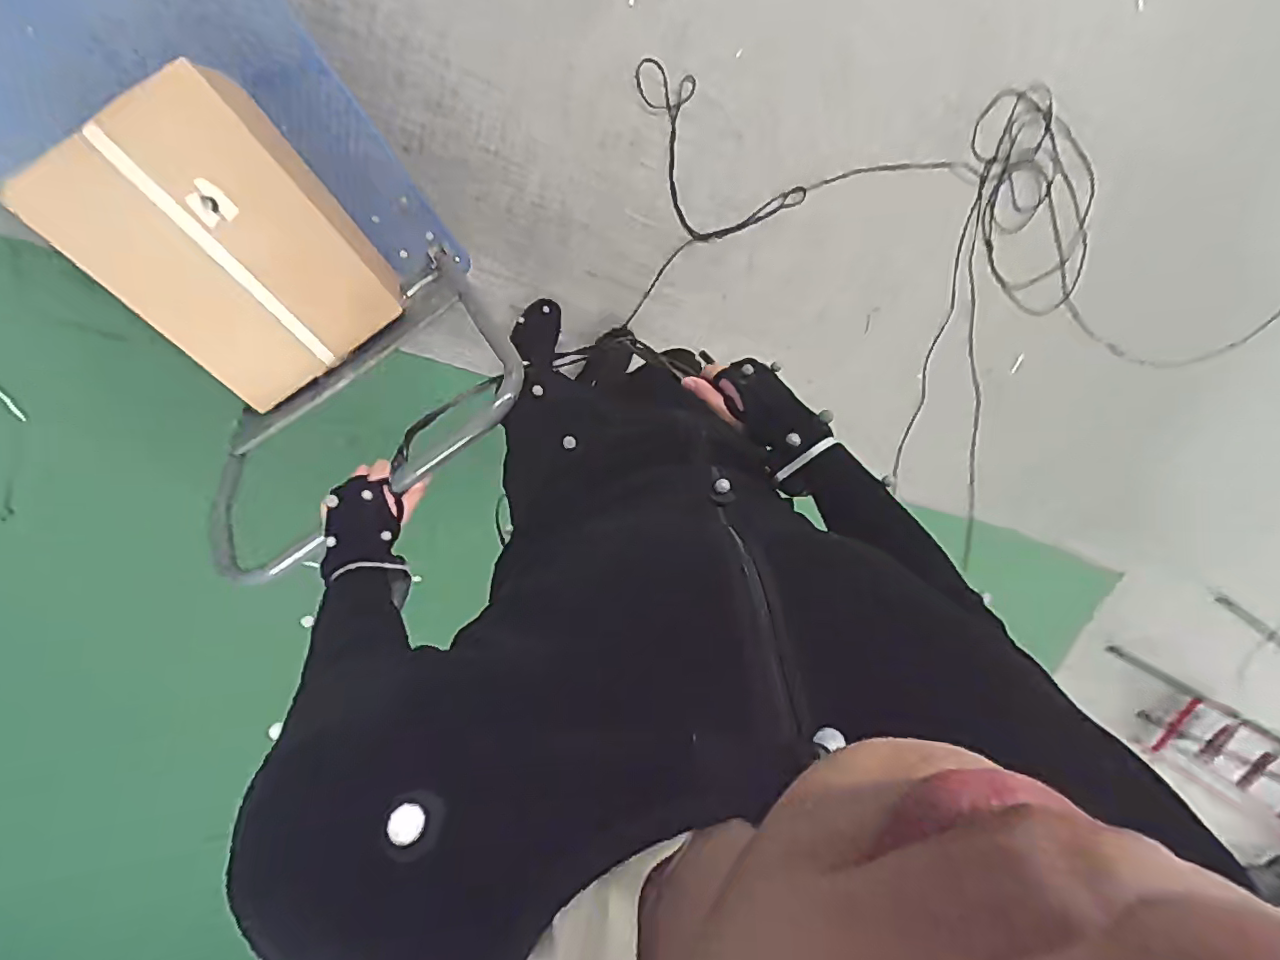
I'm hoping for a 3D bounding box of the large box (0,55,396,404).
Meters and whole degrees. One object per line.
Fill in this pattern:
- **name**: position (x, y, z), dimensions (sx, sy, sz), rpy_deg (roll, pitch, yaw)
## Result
- **large box**: position (-0.690, -0.415, 0.941), dimensions (0.320, 0.320, 0.408), rpy_deg (-37, 128, -2)
